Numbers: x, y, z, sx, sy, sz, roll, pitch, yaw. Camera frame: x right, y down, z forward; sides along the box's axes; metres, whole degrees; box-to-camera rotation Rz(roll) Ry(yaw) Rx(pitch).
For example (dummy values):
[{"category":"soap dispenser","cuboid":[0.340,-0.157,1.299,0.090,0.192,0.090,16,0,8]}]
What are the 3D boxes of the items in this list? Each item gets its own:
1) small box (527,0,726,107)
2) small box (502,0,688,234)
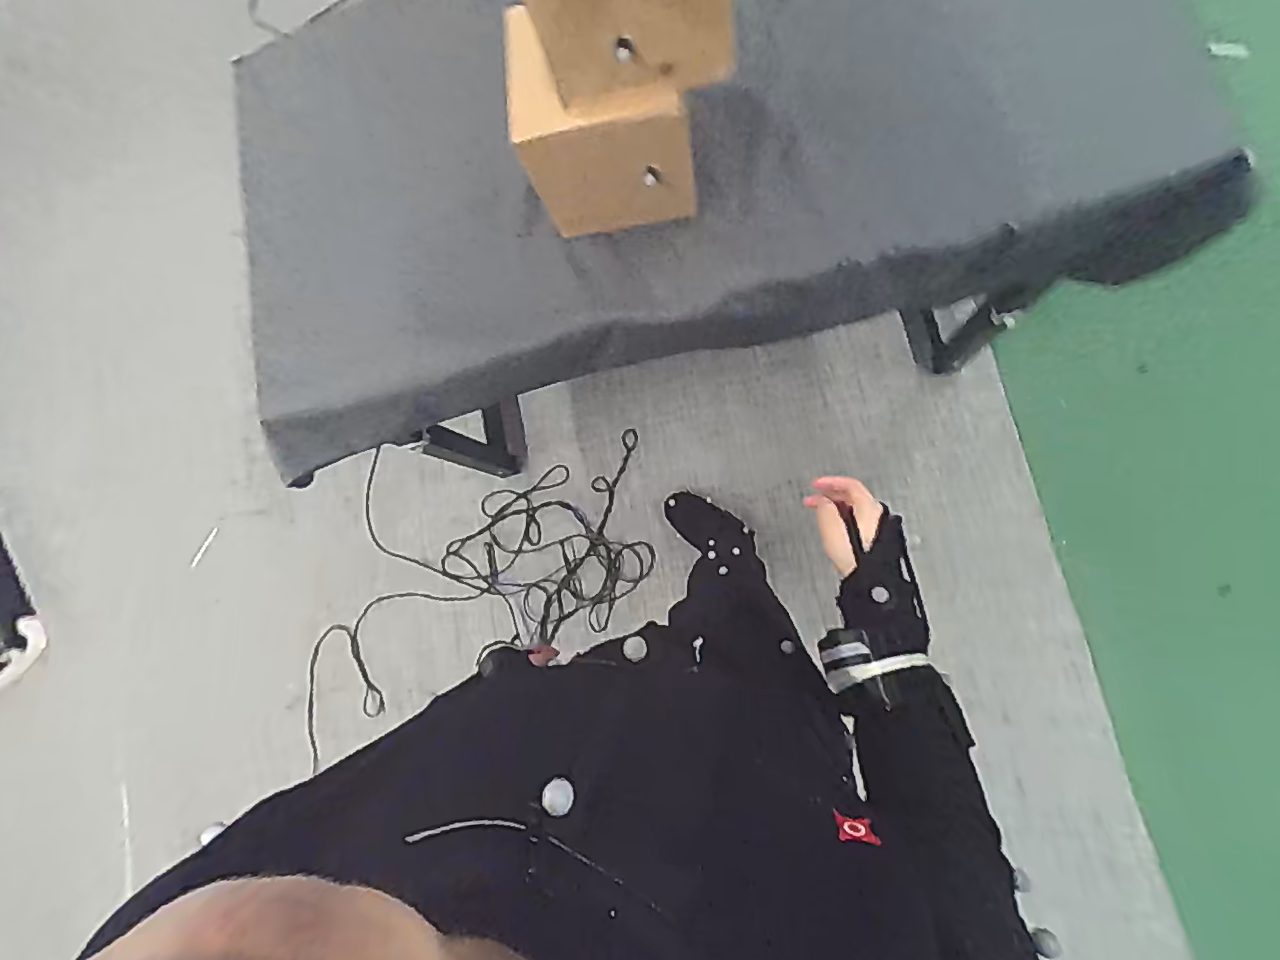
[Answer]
[{"category":"small box","cuboid":[-0.019,-0.470,0.457,0.168,0.176,0.179,-8,81,9]},{"category":"small box","cuboid":[-0.040,-0.414,0.619,0.179,0.176,0.168,-6,80,11]}]
